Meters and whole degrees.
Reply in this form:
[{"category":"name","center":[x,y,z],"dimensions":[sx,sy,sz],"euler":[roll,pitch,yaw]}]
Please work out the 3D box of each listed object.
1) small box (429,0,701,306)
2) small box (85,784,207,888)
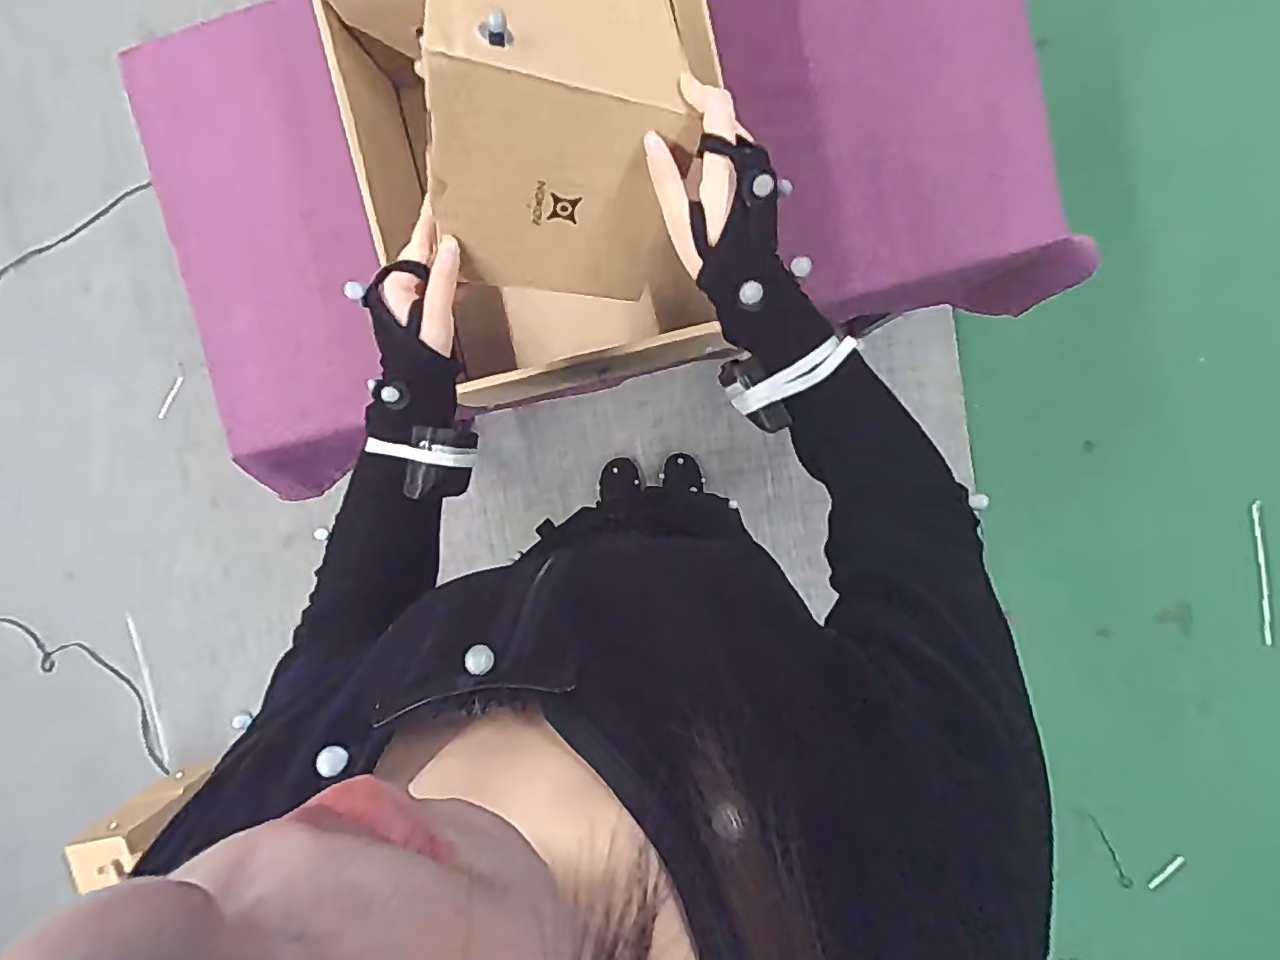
[{"category":"small box","center":[-0.071,-0.270,0.436],"dimensions":[0.179,0.168,0.176],"euler":[2,64,-17]},{"category":"small box","center":[-1.348,0.974,1.494],"dimensions":[0.179,0.176,0.168],"euler":[-14,93,8]}]
